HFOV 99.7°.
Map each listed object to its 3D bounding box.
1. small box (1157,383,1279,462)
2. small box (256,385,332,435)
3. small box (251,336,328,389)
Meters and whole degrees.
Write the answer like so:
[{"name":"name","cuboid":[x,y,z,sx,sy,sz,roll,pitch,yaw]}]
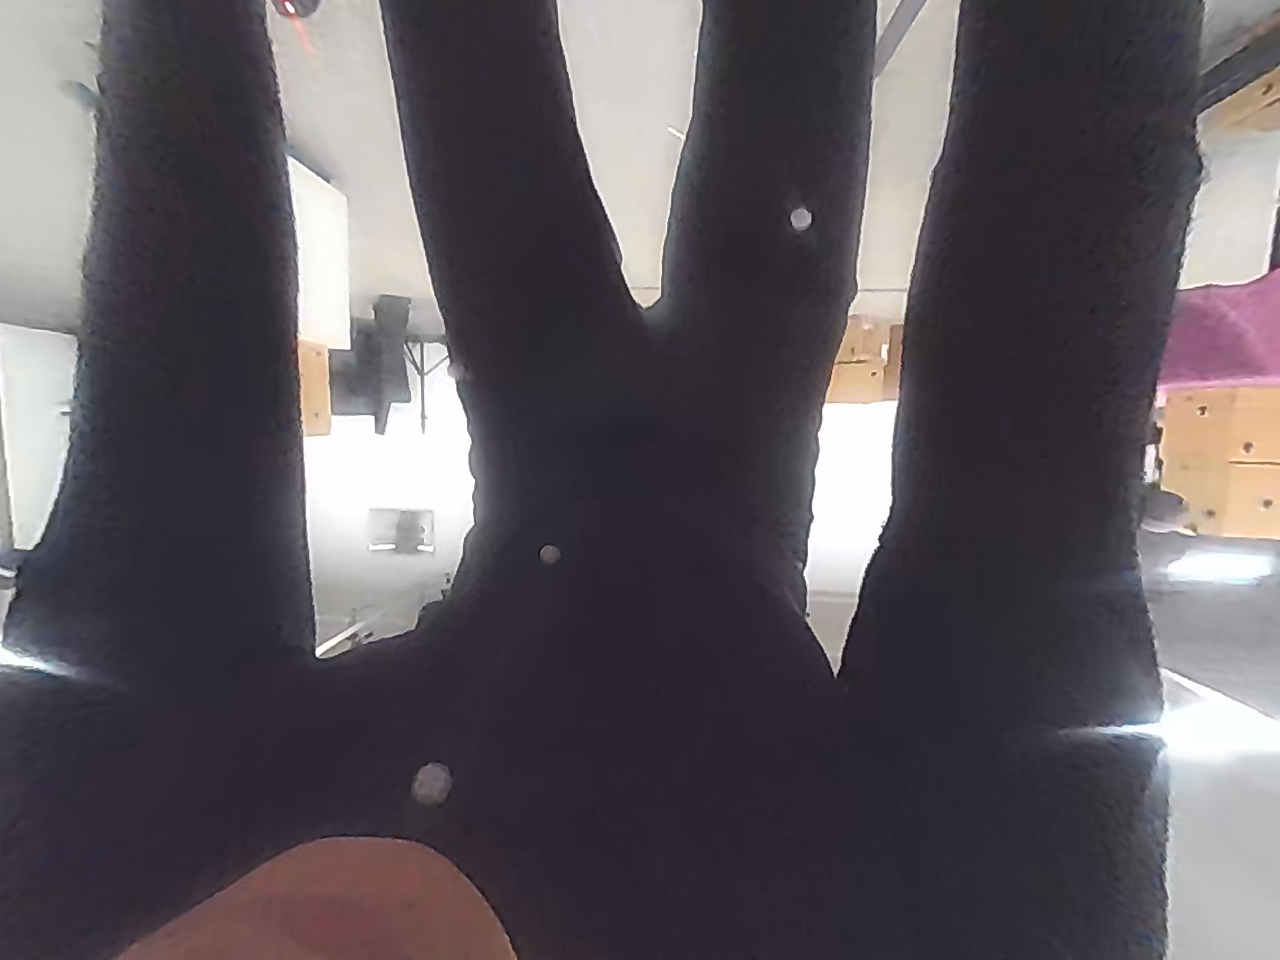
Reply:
[{"name":"small box","cuboid":[1.359,-0.134,1.239,0.179,0.176,0.168,2,-174,4]},{"name":"small box","cuboid":[-1.240,-0.252,1.938,0.168,0.176,0.179,4,-172,4]},{"name":"small box","cuboid":[-1.235,-0.414,1.913,0.179,0.176,0.168,2,-173,0]}]
